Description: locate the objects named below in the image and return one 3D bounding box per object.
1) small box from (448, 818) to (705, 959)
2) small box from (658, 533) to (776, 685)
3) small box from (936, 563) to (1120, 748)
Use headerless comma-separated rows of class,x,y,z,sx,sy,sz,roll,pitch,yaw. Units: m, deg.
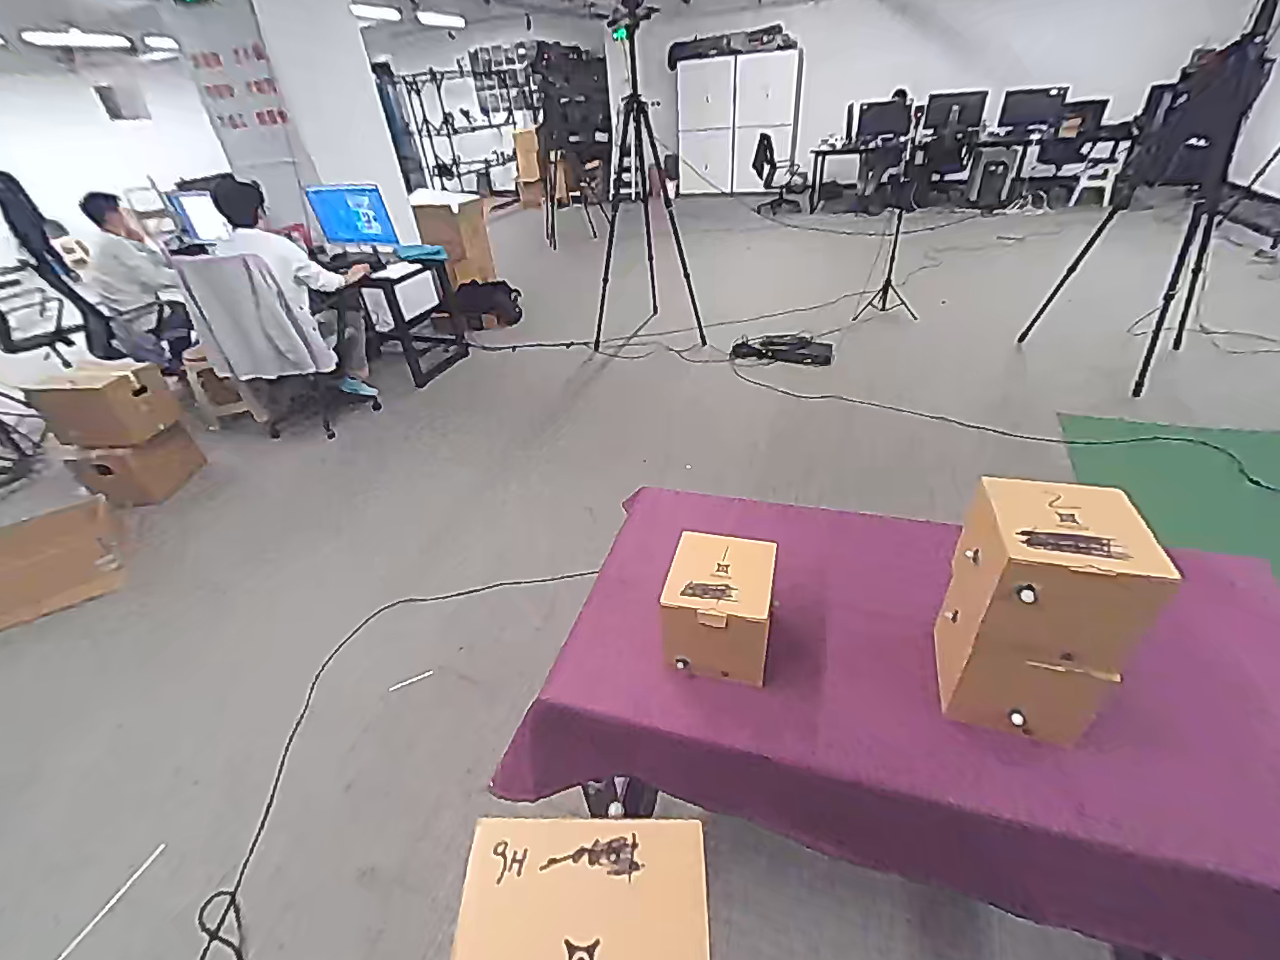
small box,-0.036,0.362,0.392,0.168,0.176,0.179,-1,48,2
small box,0.135,0.217,0.916,0.168,0.176,0.179,6,36,16
small box,0.552,0.255,0.802,0.168,0.176,0.179,7,38,19
